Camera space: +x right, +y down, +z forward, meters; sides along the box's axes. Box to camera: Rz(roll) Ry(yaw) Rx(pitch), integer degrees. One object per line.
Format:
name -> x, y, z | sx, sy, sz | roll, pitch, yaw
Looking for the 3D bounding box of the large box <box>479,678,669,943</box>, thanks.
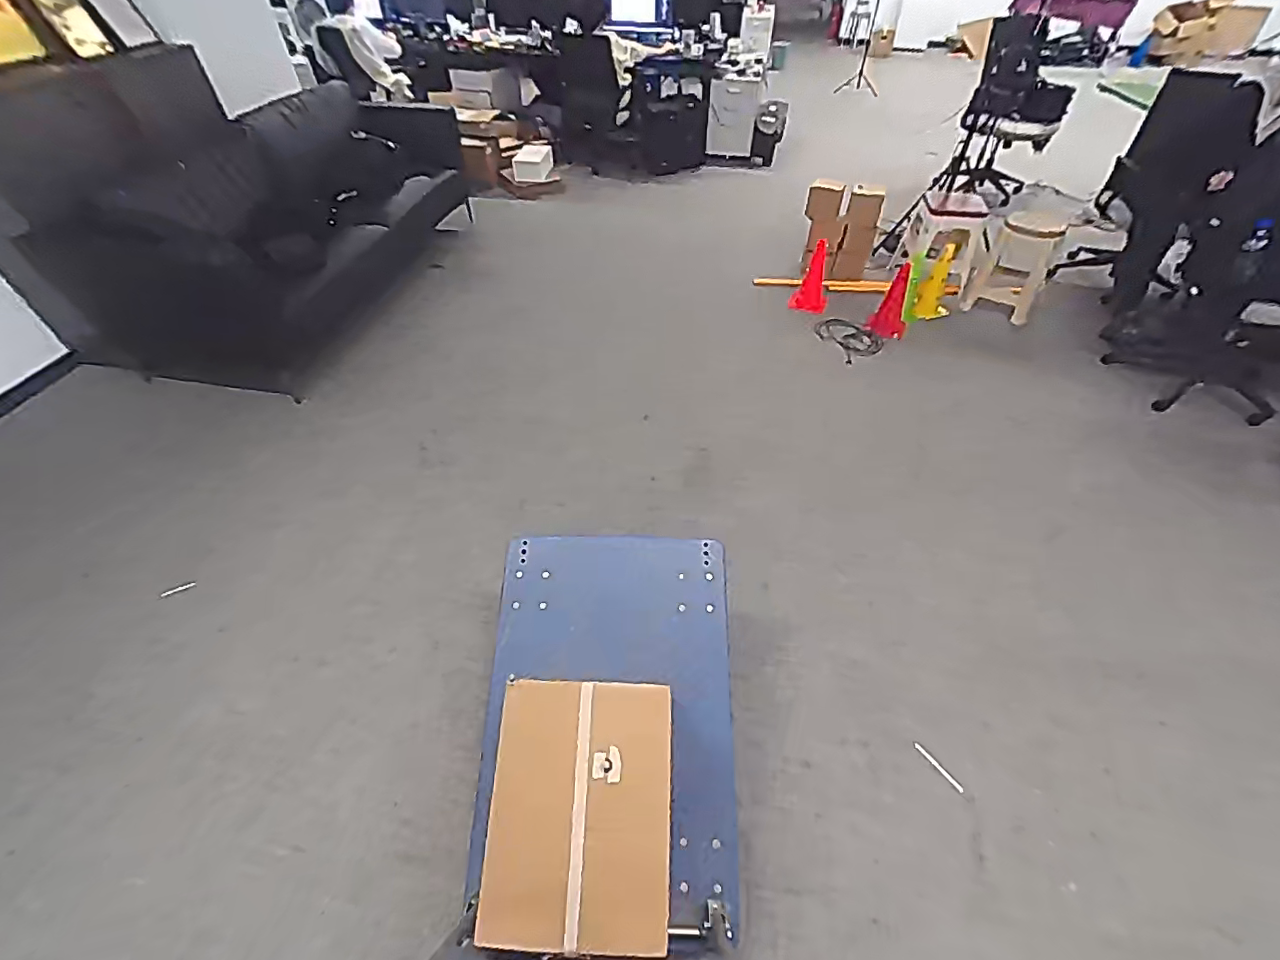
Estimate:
large box -> -0.101, 0.626, 1.088 | 0.320, 0.320, 0.408 | 0, 65, 3
